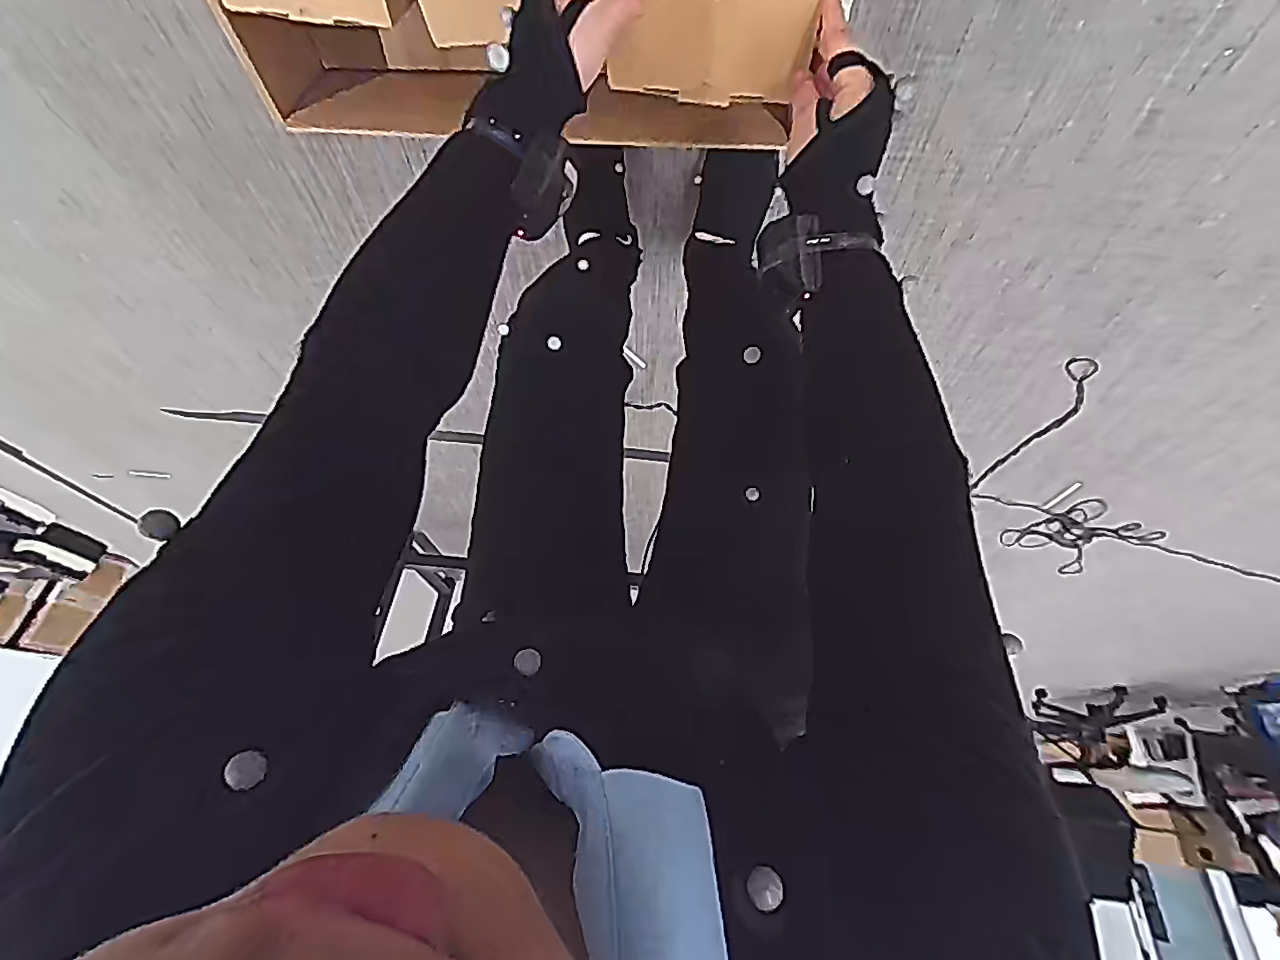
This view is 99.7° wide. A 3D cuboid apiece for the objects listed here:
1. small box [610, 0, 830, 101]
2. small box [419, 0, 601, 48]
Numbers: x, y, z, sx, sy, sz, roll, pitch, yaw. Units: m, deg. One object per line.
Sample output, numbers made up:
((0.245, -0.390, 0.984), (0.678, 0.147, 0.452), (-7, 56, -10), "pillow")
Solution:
((0.069, -0.436, 0.420), (0.168, 0.176, 0.179), (8, 151, 6), "small box")
((-0.120, -0.534, 0.489), (0.168, 0.176, 0.179), (1, 149, 6), "small box")
